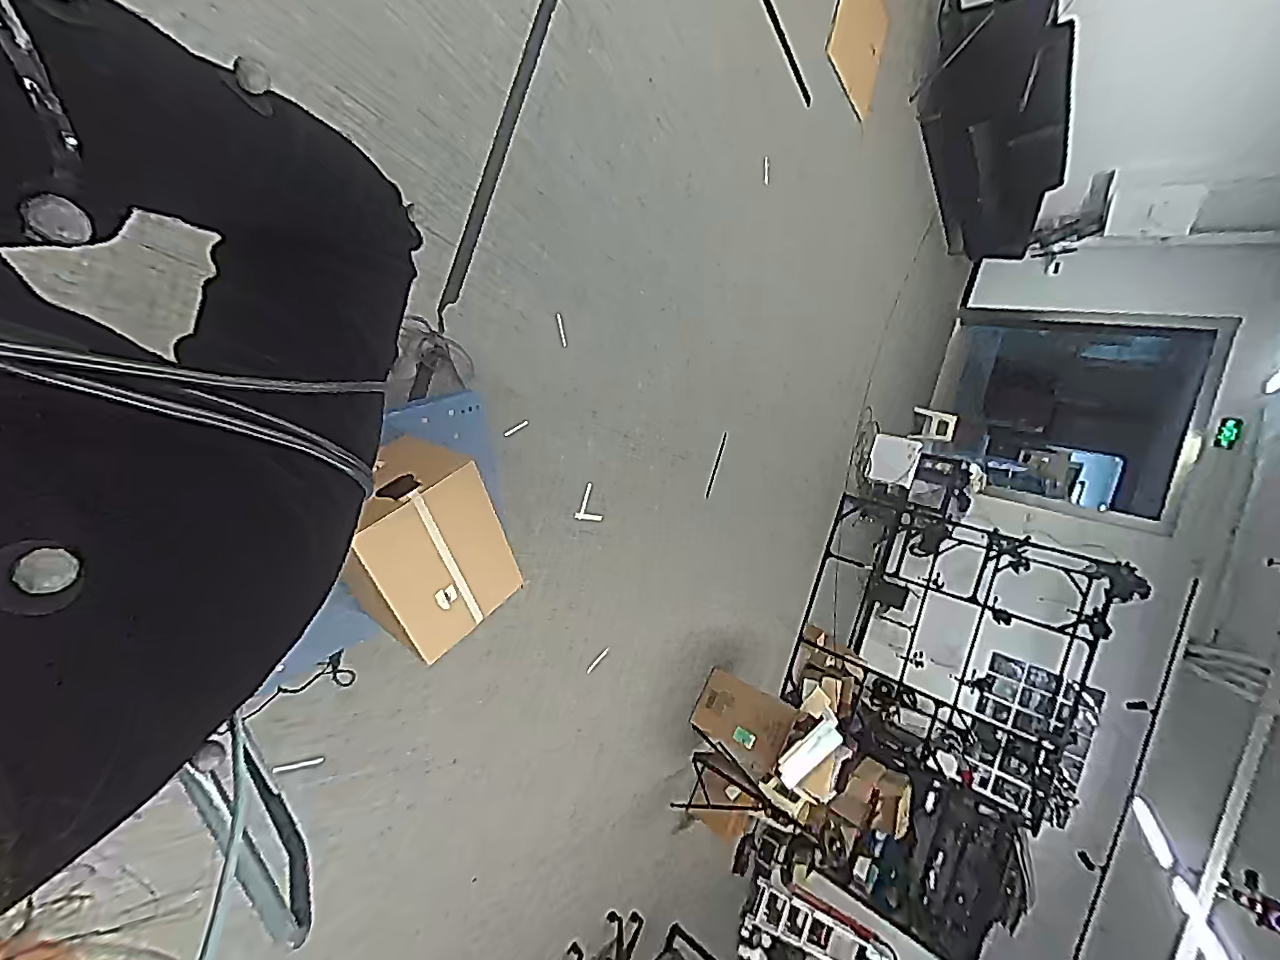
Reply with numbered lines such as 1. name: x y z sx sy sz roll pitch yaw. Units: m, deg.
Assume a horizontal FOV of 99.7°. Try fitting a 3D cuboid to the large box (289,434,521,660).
1. large box: -0.561 0.150 1.335 0.320 0.320 0.408 -40 133 -35
